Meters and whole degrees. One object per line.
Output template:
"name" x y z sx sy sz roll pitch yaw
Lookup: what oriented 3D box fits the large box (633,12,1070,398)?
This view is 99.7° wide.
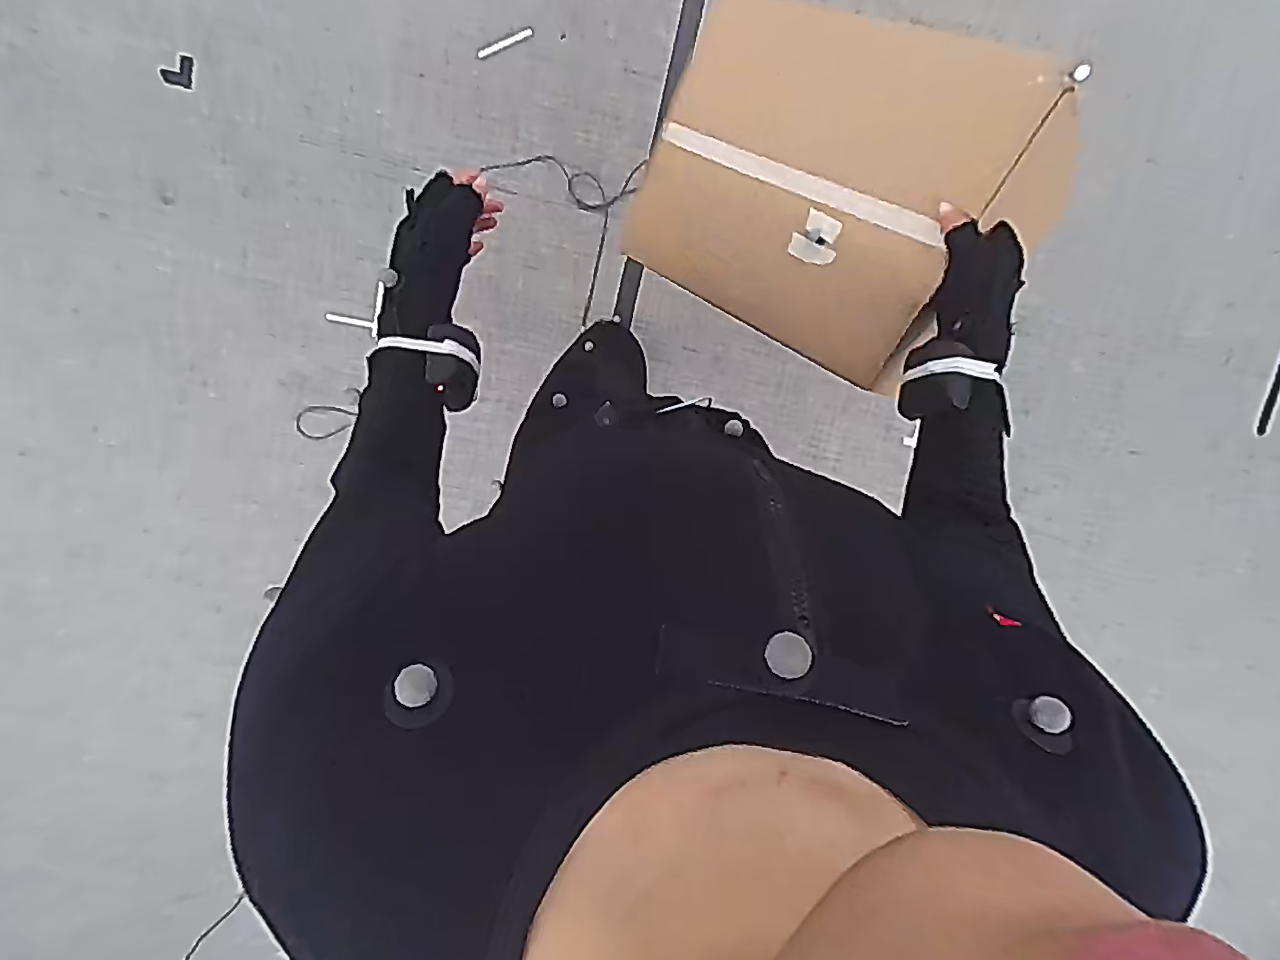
"large box" 0.273 -0.349 0.743 0.408 0.320 0.320 41 117 29
